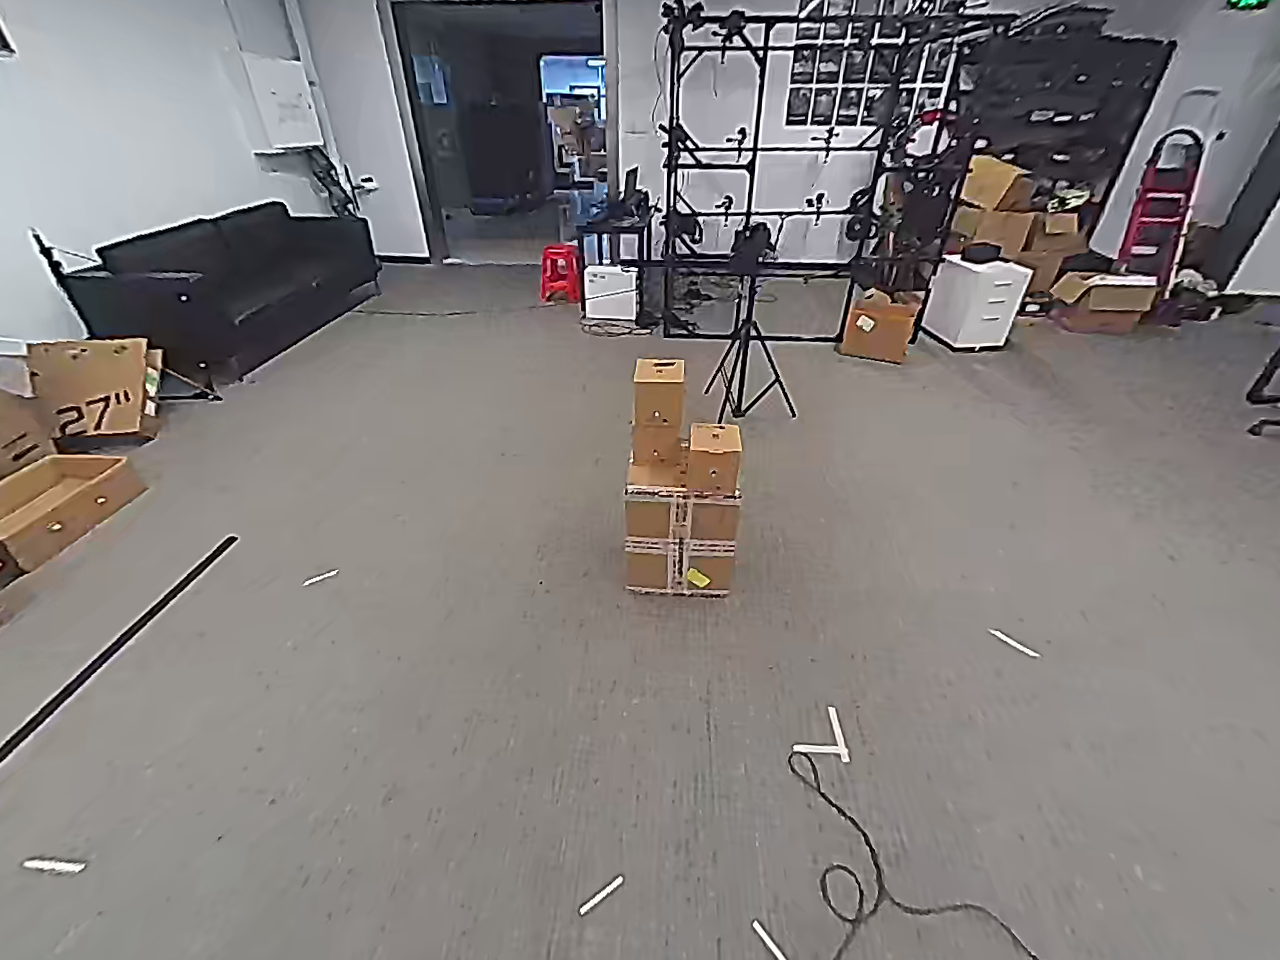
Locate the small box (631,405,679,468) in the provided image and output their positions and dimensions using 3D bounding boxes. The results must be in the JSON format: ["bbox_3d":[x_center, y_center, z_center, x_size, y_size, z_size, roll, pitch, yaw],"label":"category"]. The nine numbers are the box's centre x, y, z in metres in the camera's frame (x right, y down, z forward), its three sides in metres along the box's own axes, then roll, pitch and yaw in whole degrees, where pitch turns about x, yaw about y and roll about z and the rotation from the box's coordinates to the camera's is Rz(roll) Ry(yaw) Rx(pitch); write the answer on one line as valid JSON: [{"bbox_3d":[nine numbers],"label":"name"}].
[{"bbox_3d":[0.055,-0.161,1.967,0.168,0.176,0.179,-1,36,2],"label":"small box"}]

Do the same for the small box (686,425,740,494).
[{"bbox_3d":[0.245,-0.068,1.833,0.168,0.176,0.179,3,37,3],"label":"small box"}]

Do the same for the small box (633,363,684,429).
[{"bbox_3d":[0.066,-0.292,1.867,0.168,0.176,0.179,1,37,5],"label":"small box"}]
